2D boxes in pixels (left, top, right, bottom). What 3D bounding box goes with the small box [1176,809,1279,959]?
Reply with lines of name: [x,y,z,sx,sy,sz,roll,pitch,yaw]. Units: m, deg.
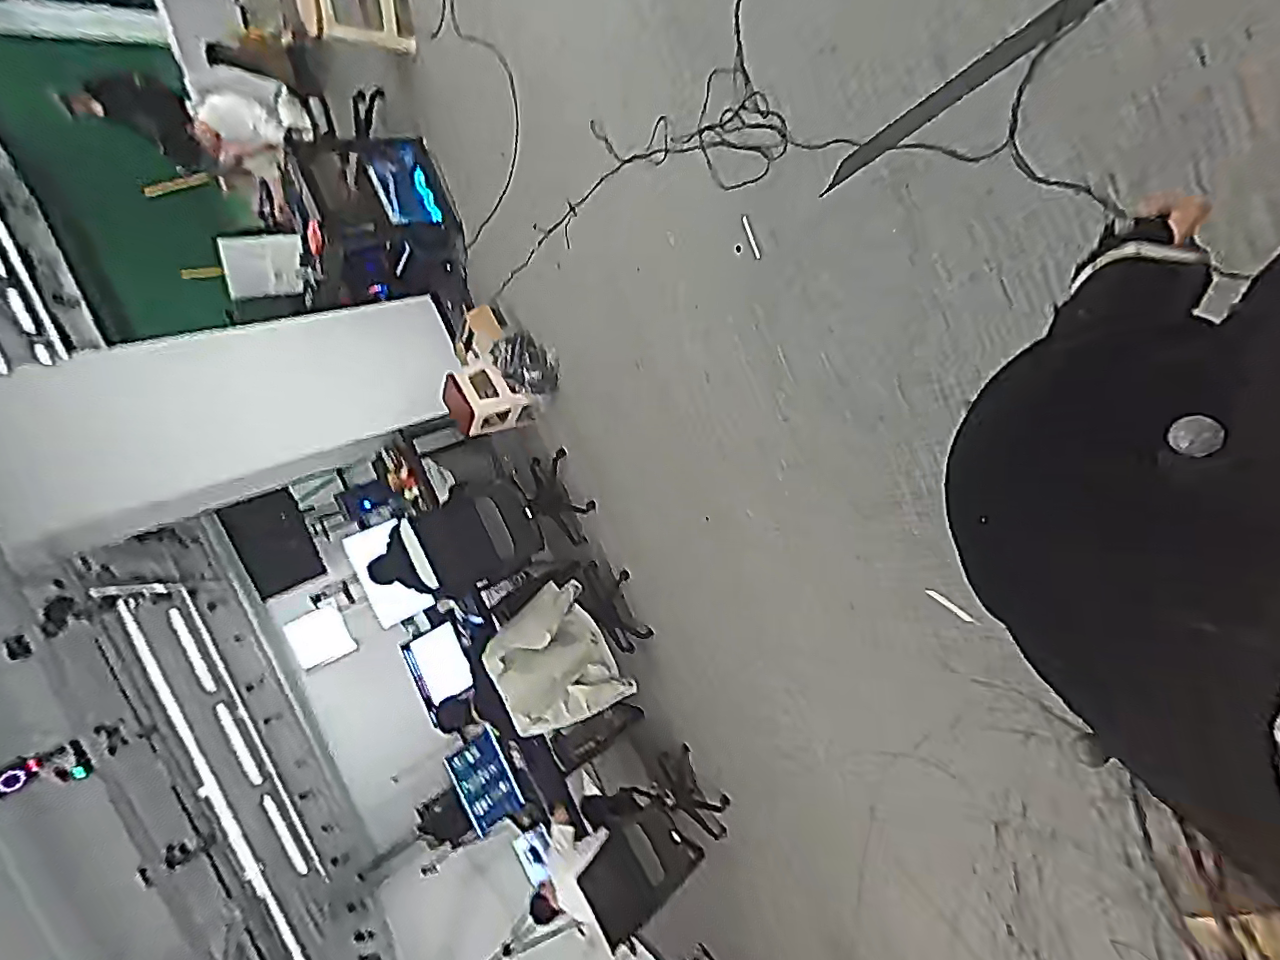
small box: [0.830,0.534,0.656,0.168,0.176,0.179,46,143,24]
